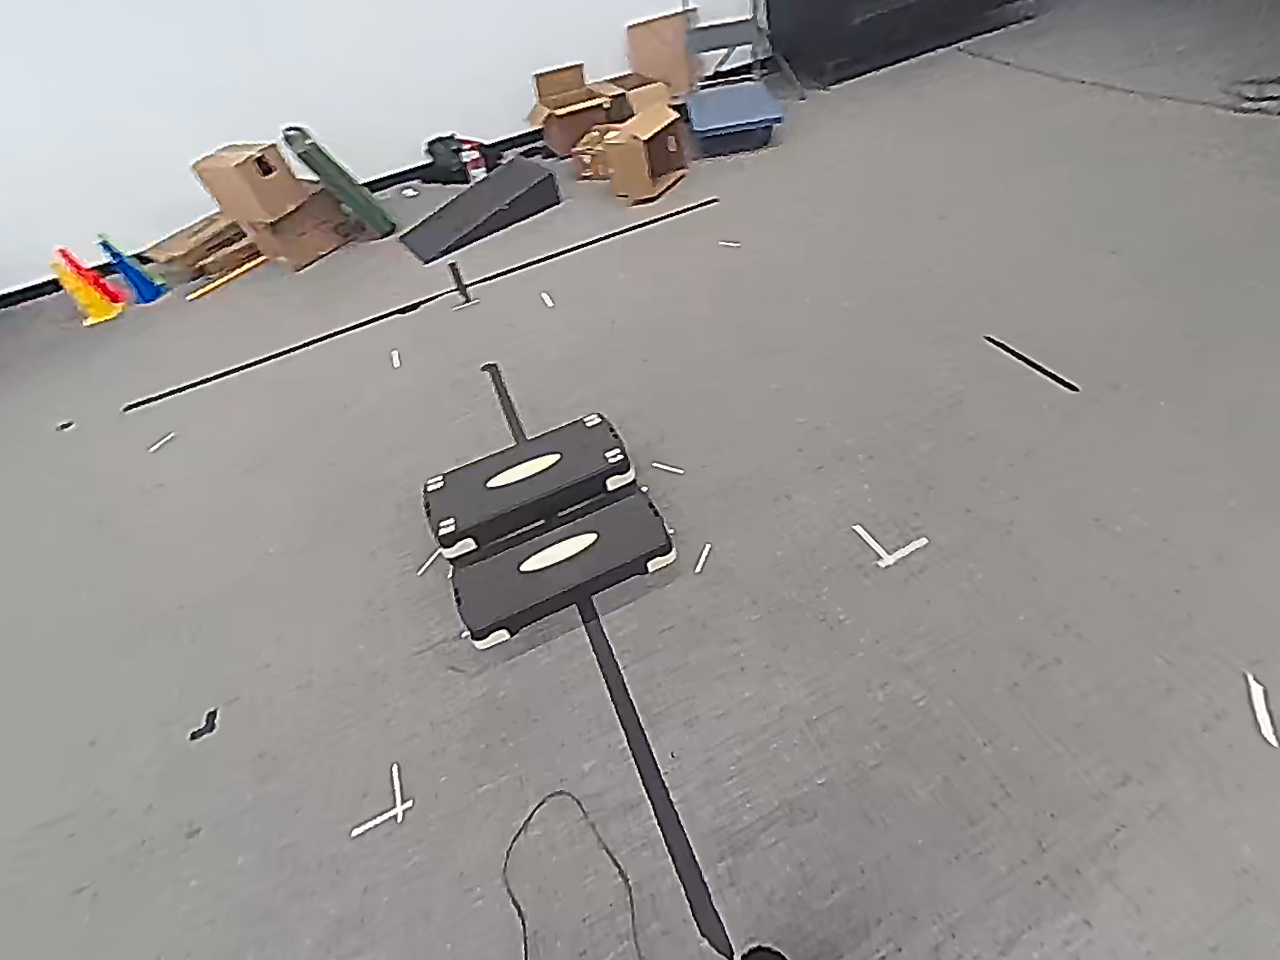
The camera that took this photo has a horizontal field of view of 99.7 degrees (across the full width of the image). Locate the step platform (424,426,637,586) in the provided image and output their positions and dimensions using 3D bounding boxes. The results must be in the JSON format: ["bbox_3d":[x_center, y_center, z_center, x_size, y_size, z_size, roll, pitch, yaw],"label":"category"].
[{"bbox_3d":[-0.365,0.074,1.815,0.684,0.204,0.286,-24,50,-11],"label":"step platform"}]
